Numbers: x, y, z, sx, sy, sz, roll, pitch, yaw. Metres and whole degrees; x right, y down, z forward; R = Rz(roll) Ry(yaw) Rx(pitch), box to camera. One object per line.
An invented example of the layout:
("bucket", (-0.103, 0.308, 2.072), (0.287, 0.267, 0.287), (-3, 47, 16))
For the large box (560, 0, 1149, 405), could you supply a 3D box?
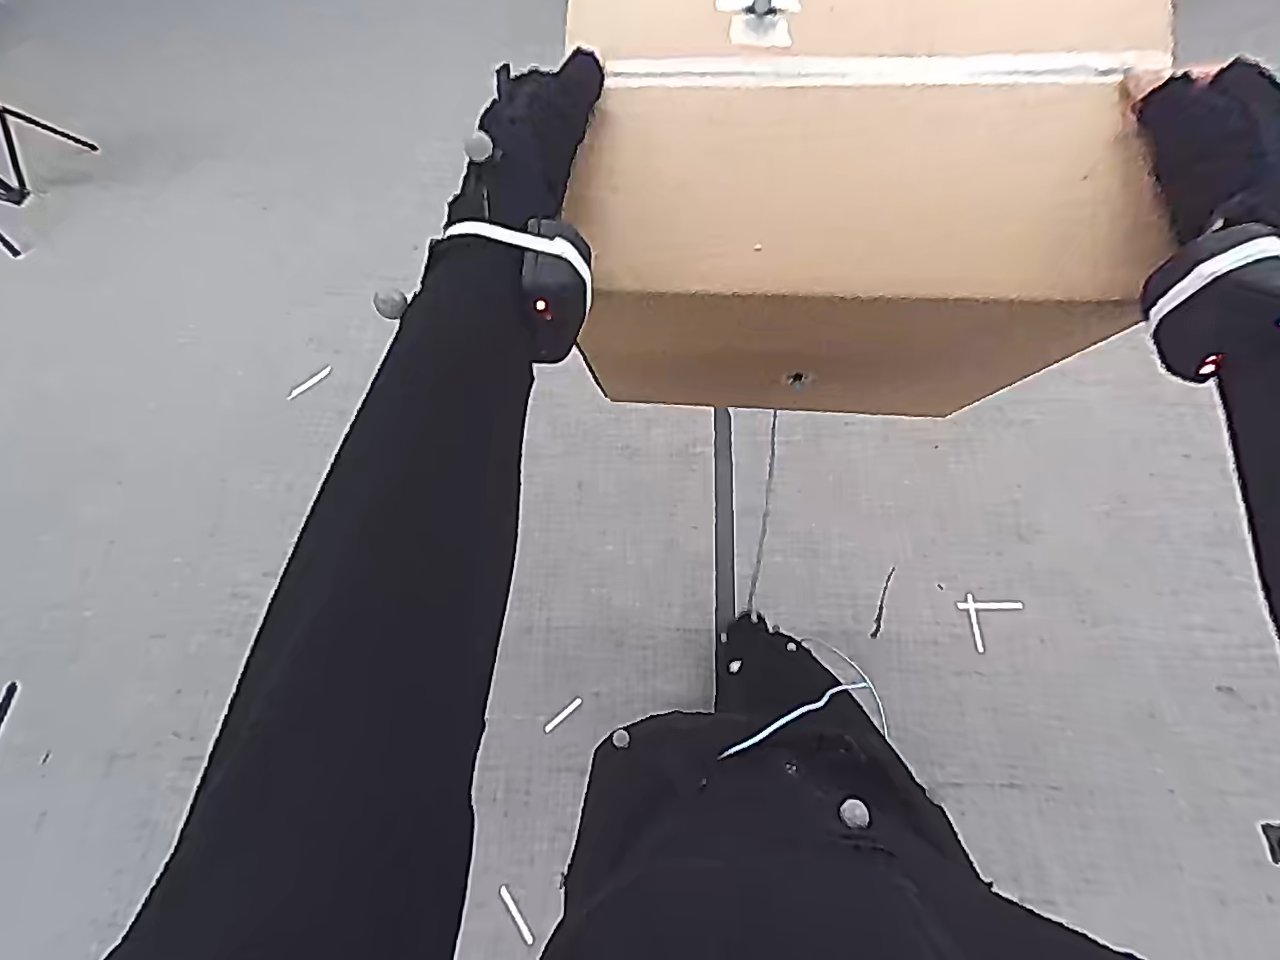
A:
("large box", (0.164, -0.262, 0.537), (0.408, 0.320, 0.320), (3, 83, 7))
